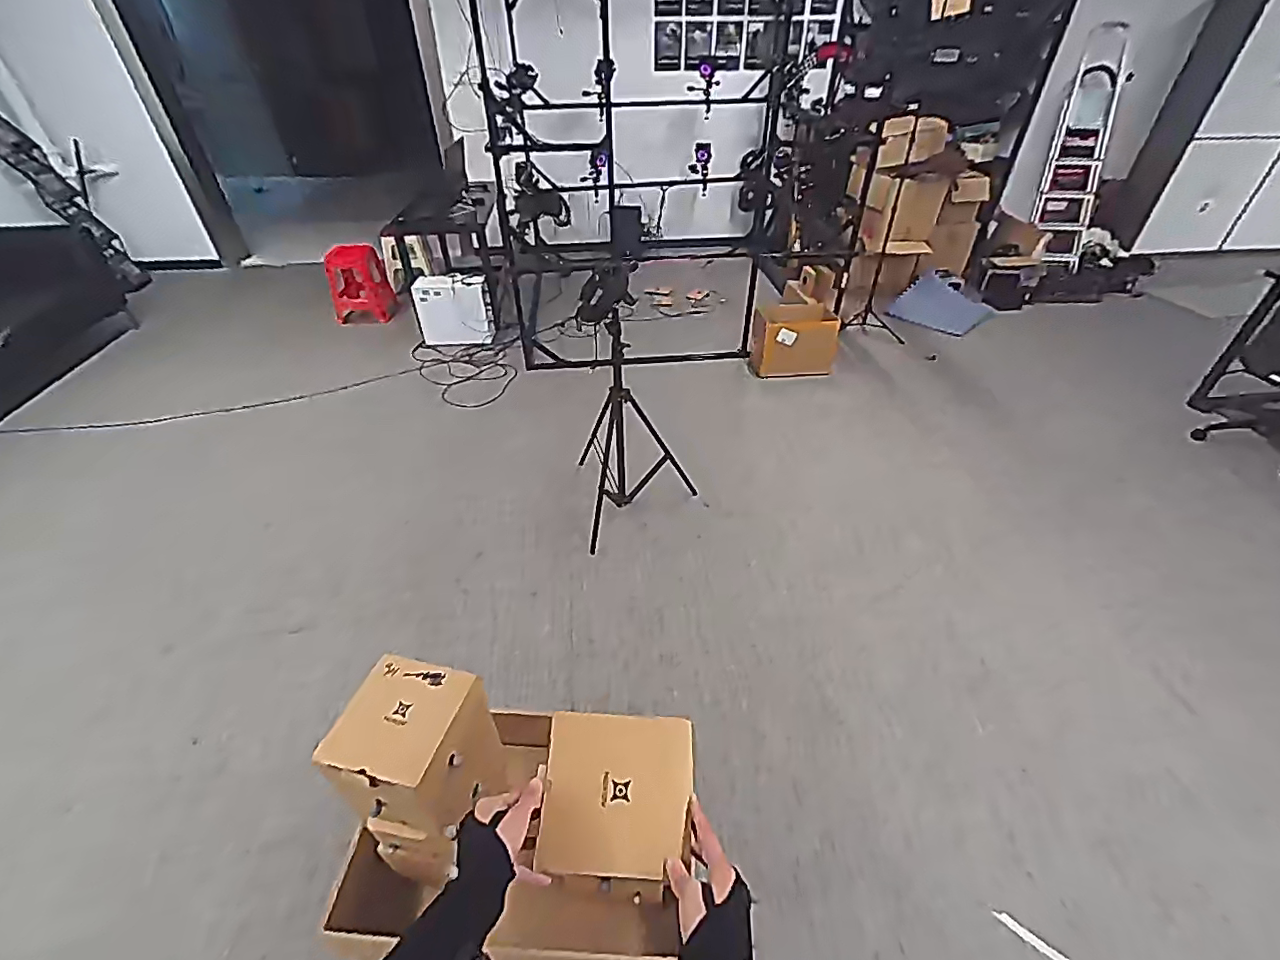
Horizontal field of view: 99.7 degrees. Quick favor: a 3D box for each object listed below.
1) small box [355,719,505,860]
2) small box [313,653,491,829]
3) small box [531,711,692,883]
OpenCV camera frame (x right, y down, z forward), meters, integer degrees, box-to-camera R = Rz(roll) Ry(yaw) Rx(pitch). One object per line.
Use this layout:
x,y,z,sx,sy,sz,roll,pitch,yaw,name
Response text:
-0.349,0.528,0.944,0.168,0.176,0.179,7,38,9,small box
-0.349,0.403,0.836,0.168,0.176,0.179,9,40,11,small box
-0.026,0.406,0.693,0.179,0.176,0.168,1,54,3,small box
